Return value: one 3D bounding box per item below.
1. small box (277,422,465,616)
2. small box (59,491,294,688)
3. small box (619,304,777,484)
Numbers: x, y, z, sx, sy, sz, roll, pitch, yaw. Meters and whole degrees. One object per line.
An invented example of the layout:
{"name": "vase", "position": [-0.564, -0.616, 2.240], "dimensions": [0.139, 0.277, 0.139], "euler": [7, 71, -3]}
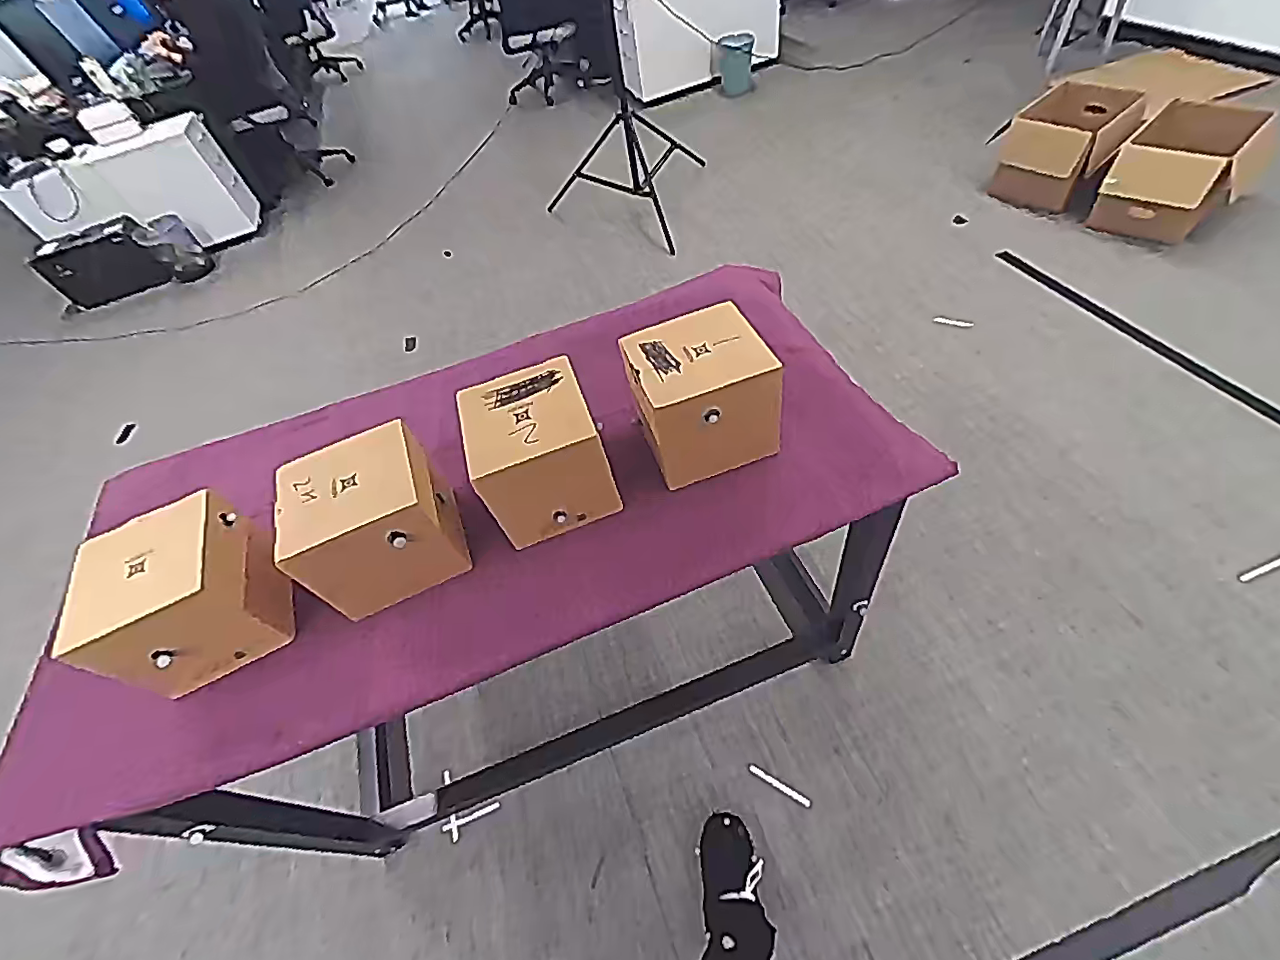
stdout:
{"name": "small box", "position": [-0.359, 0.056, 0.747], "dimensions": [0.179, 0.176, 0.168], "euler": [-24, 51, -7]}
{"name": "small box", "position": [-0.596, 0.154, 0.724], "dimensions": [0.168, 0.176, 0.179], "euler": [-27, 52, -9]}
{"name": "small box", "position": [0.086, -0.120, 0.786], "dimensions": [0.179, 0.176, 0.168], "euler": [-19, 50, -4]}
